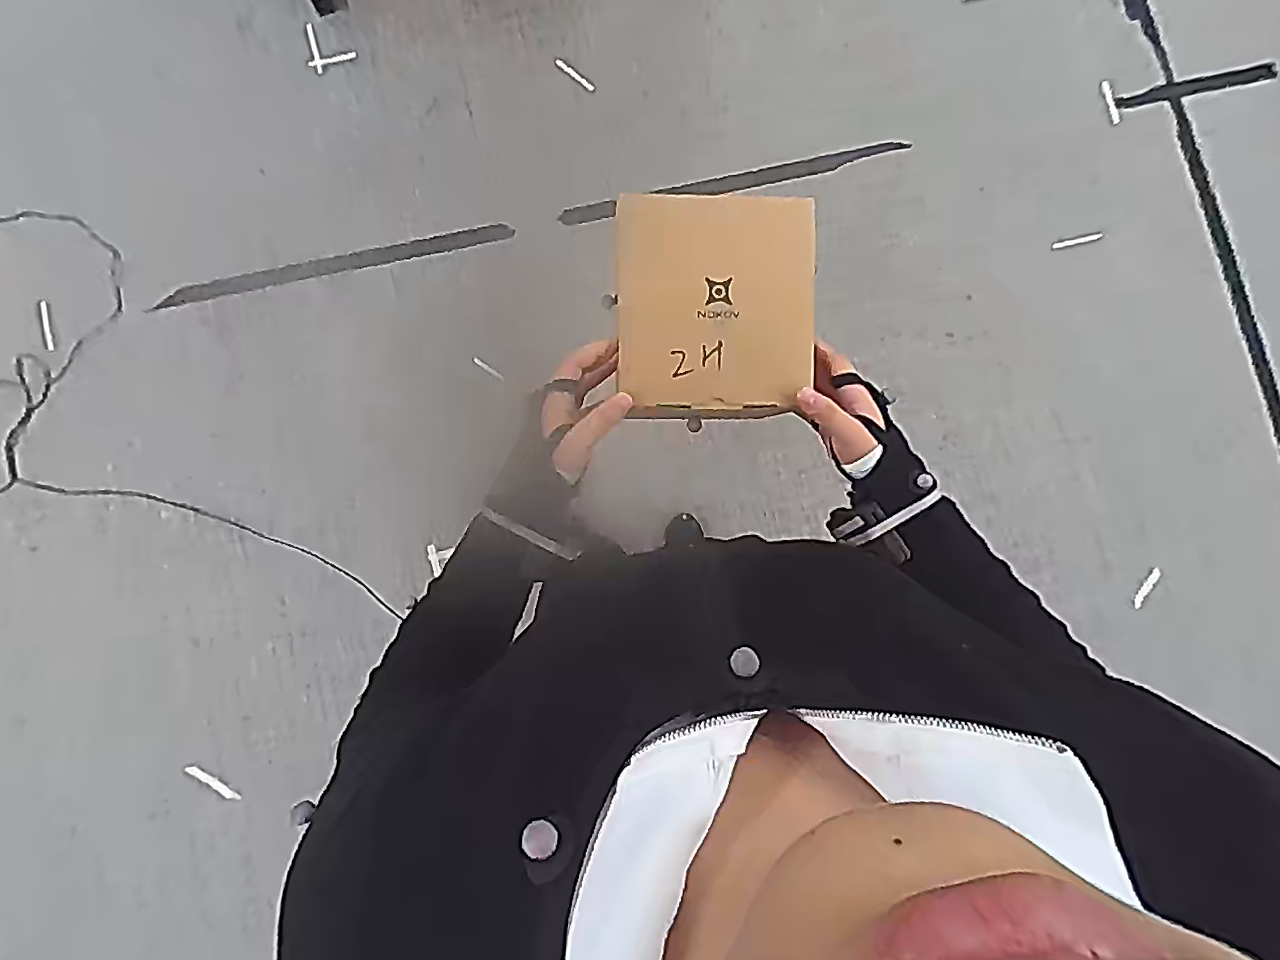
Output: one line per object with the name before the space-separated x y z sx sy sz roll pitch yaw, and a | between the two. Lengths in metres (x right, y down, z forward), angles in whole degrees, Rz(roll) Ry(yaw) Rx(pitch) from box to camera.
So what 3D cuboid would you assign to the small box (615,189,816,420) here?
small box | 0.060 -0.154 0.528 0.168 0.176 0.179 0 93 -3
